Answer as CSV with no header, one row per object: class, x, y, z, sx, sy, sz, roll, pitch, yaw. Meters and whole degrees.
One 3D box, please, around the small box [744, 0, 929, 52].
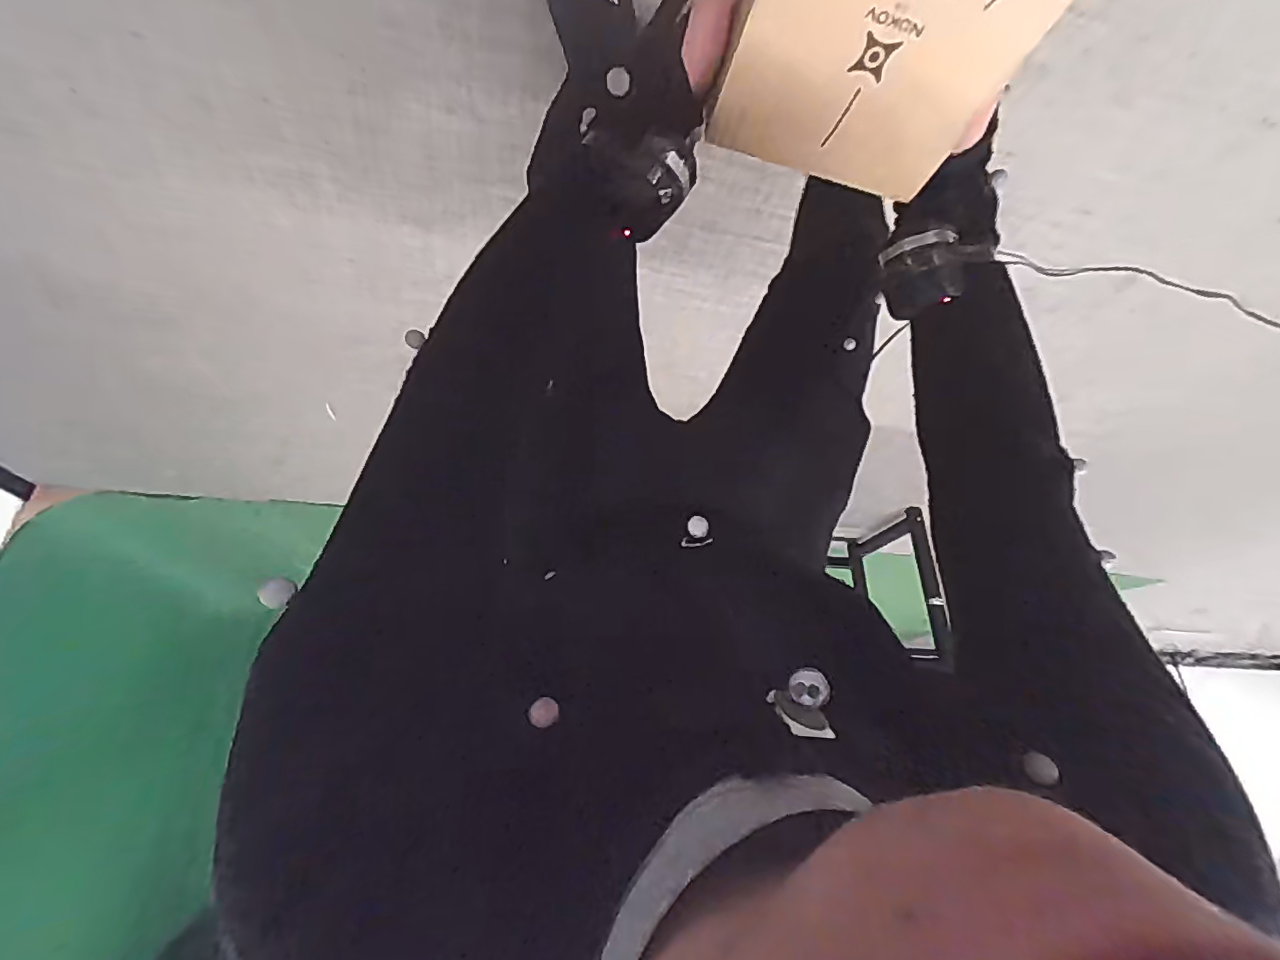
small box,0.168,-0.483,0.403,0.168,0.176,0.179,10,154,-9
